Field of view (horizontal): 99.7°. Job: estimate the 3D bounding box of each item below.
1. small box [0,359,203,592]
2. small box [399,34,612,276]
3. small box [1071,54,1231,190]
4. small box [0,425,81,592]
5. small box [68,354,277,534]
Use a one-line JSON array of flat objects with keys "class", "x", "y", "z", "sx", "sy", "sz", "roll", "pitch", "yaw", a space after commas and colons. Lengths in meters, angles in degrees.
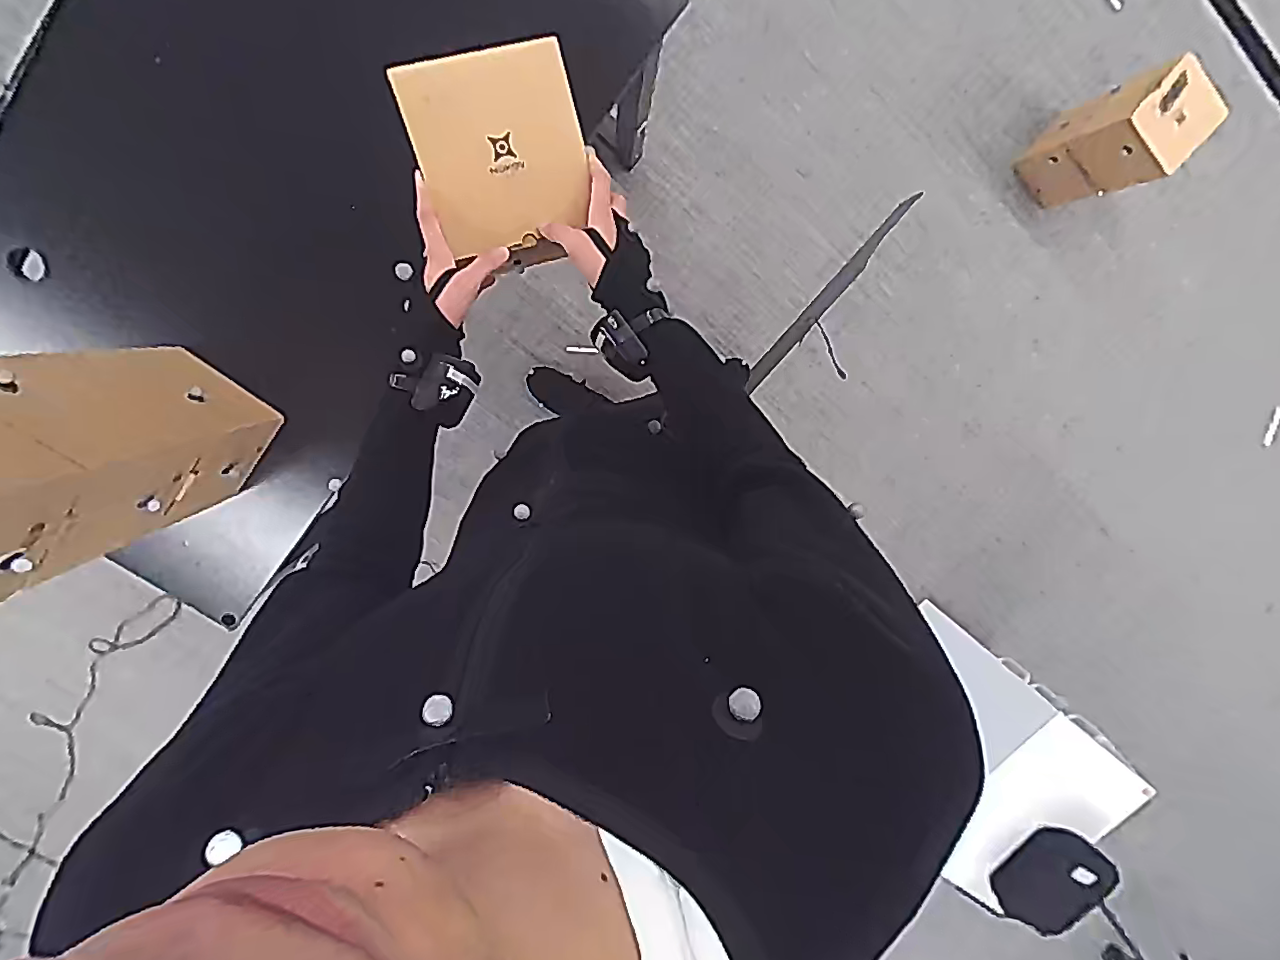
[{"class": "small box", "x": -0.649, "y": -0.017, "z": 0.590, "sx": 0.179, "sy": 0.176, "sz": 0.168, "roll": 37, "pitch": 101, "yaw": -13}, {"class": "small box", "x": -0.144, "y": -0.341, "z": 0.602, "sx": 0.168, "sy": 0.176, "sz": 0.179, "roll": -18, "pitch": 108, "yaw": -9}, {"class": "small box", "x": 1.151, "y": -0.800, "z": 1.234, "sx": 0.179, "sy": 0.176, "sz": 0.168, "roll": 38, "pitch": 100, "yaw": -14}, {"class": "small box", "x": -0.639, "y": 0.026, "z": 0.434, "sx": 0.179, "sy": 0.176, "sz": 0.168, "roll": 37, "pitch": 102, "yaw": -13}, {"class": "small box", "x": -0.658, "y": -0.061, "z": 0.749, "sx": 0.179, "sy": 0.176, "sz": 0.168, "roll": 36, "pitch": 100, "yaw": -13}]
